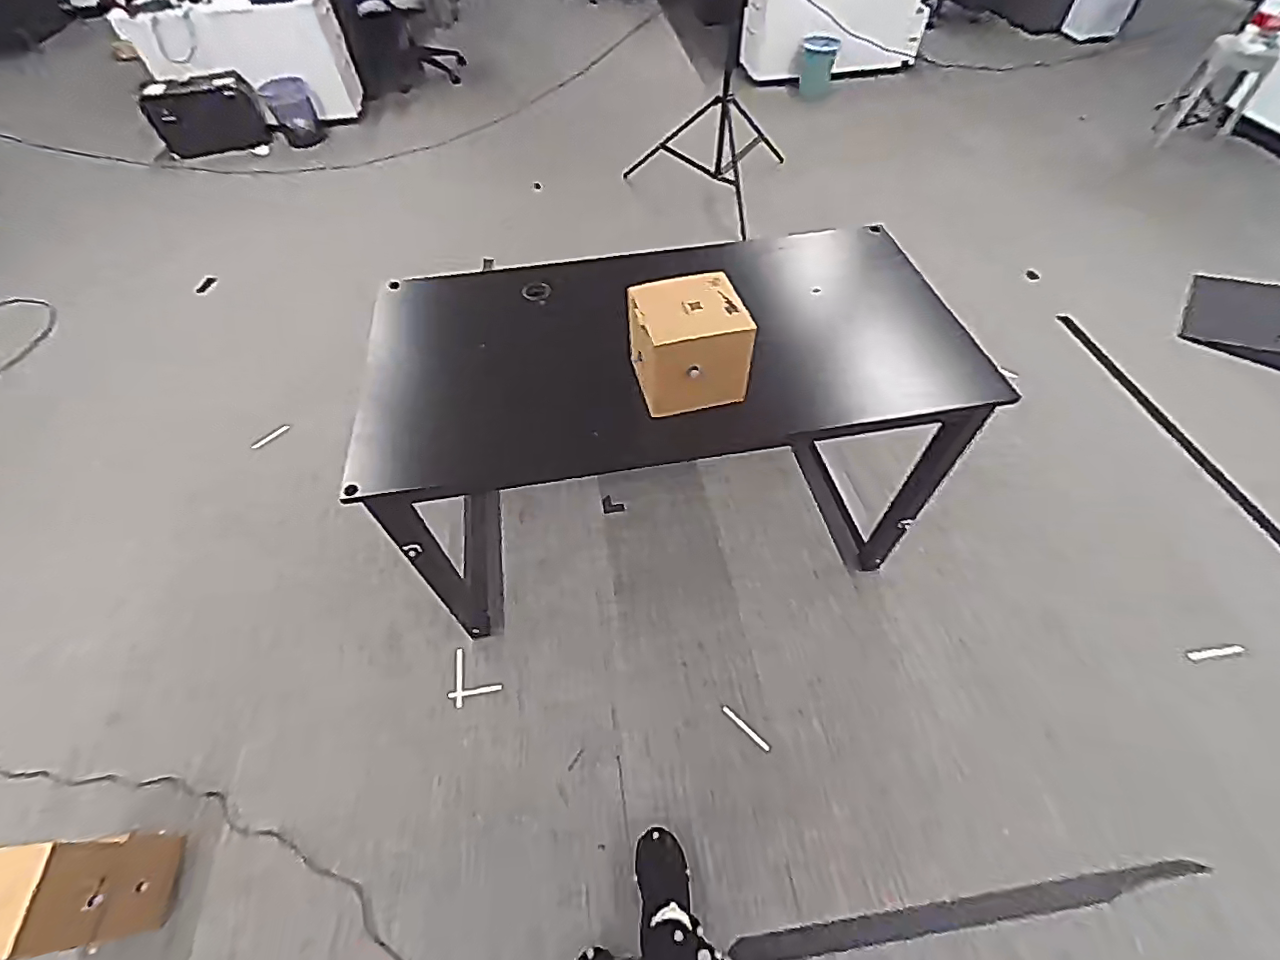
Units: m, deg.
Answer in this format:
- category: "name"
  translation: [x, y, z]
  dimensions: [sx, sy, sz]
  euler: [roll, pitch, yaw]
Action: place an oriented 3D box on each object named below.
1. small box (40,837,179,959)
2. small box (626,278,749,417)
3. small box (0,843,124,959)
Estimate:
- category: "small box"
  translation: [-1.109, 0.857, 1.115]
  dimensions: [0.168, 0.176, 0.179]
  euler: [-9, 56, -5]
- category: "small box"
  translation: [0.081, -0.234, 0.976]
  dimensions: [0.179, 0.176, 0.168]
  euler: [-13, 54, -7]
- category: "small box"
  translation: [-1.115, 0.769, 0.978]
  dimensions: [0.179, 0.176, 0.168]
  euler: [-6, 57, -5]
